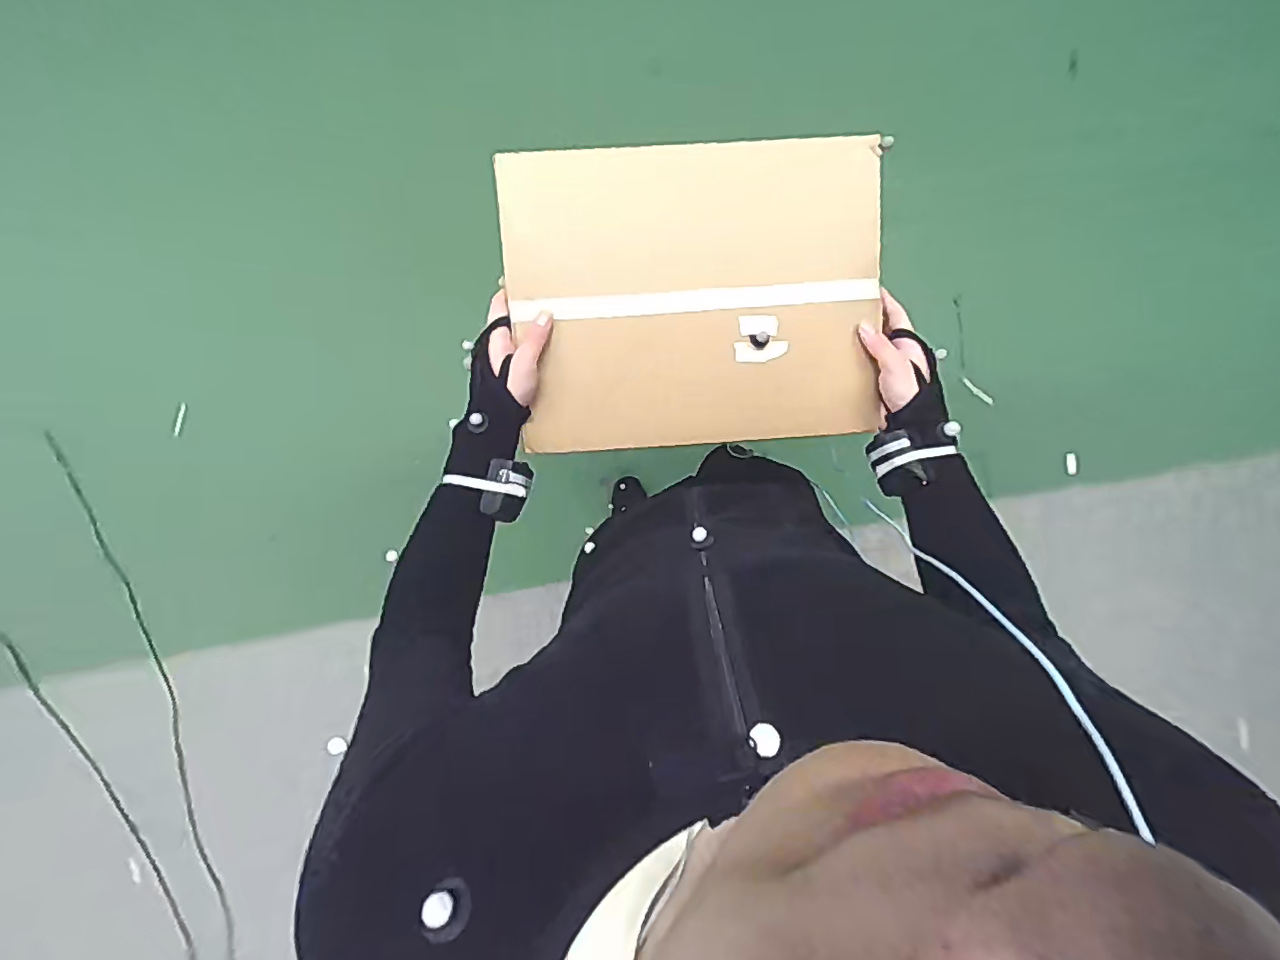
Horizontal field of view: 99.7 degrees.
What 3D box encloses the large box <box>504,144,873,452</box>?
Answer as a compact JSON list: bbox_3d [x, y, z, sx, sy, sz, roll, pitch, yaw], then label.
[{"bbox_3d":[0.055,-0.220,0.748,0.408,0.320,0.320,-4,100,-2],"label":"large box"}]
